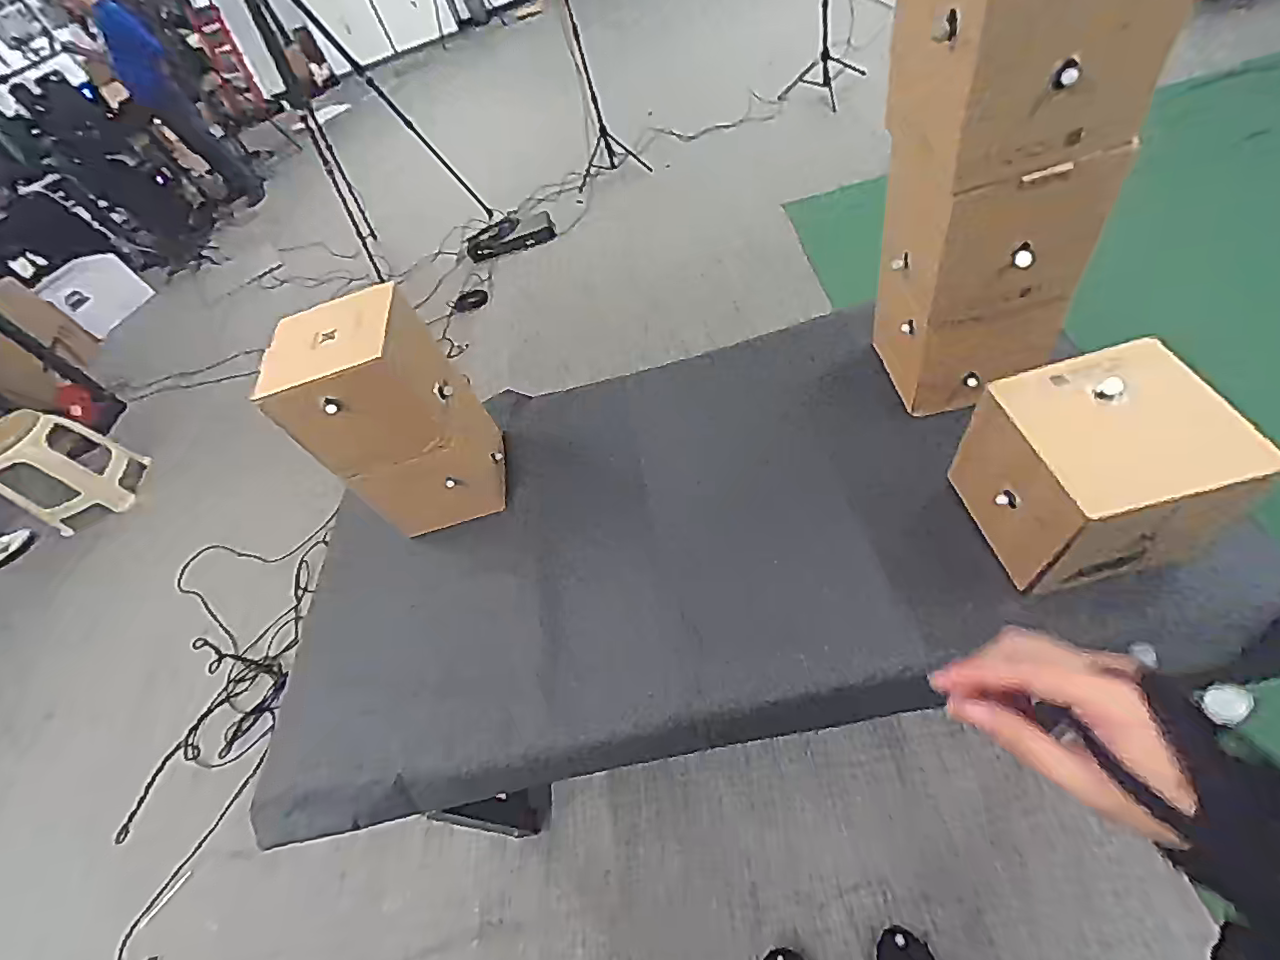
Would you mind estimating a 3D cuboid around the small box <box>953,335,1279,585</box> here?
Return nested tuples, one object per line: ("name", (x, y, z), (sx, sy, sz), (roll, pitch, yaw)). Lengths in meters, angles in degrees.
("small box", (0.460, -0.016, 0.563), (0.168, 0.179, 0.176), (-16, 54, 5))

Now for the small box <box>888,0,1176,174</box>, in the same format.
("small box", (0.346, -0.412, 0.497), (0.168, 0.176, 0.179), (-13, 52, 8))

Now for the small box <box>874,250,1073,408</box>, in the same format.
("small box", (0.441, -0.230, 0.755), (0.168, 0.176, 0.179), (-13, 52, 9))

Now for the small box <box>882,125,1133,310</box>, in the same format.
("small box", (0.396, -0.319, 0.625), (0.168, 0.176, 0.179), (-12, 53, 10))

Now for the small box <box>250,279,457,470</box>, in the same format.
("small box", (-0.376, -0.137, 0.744), (0.179, 0.176, 0.168), (-17, 53, 4))
